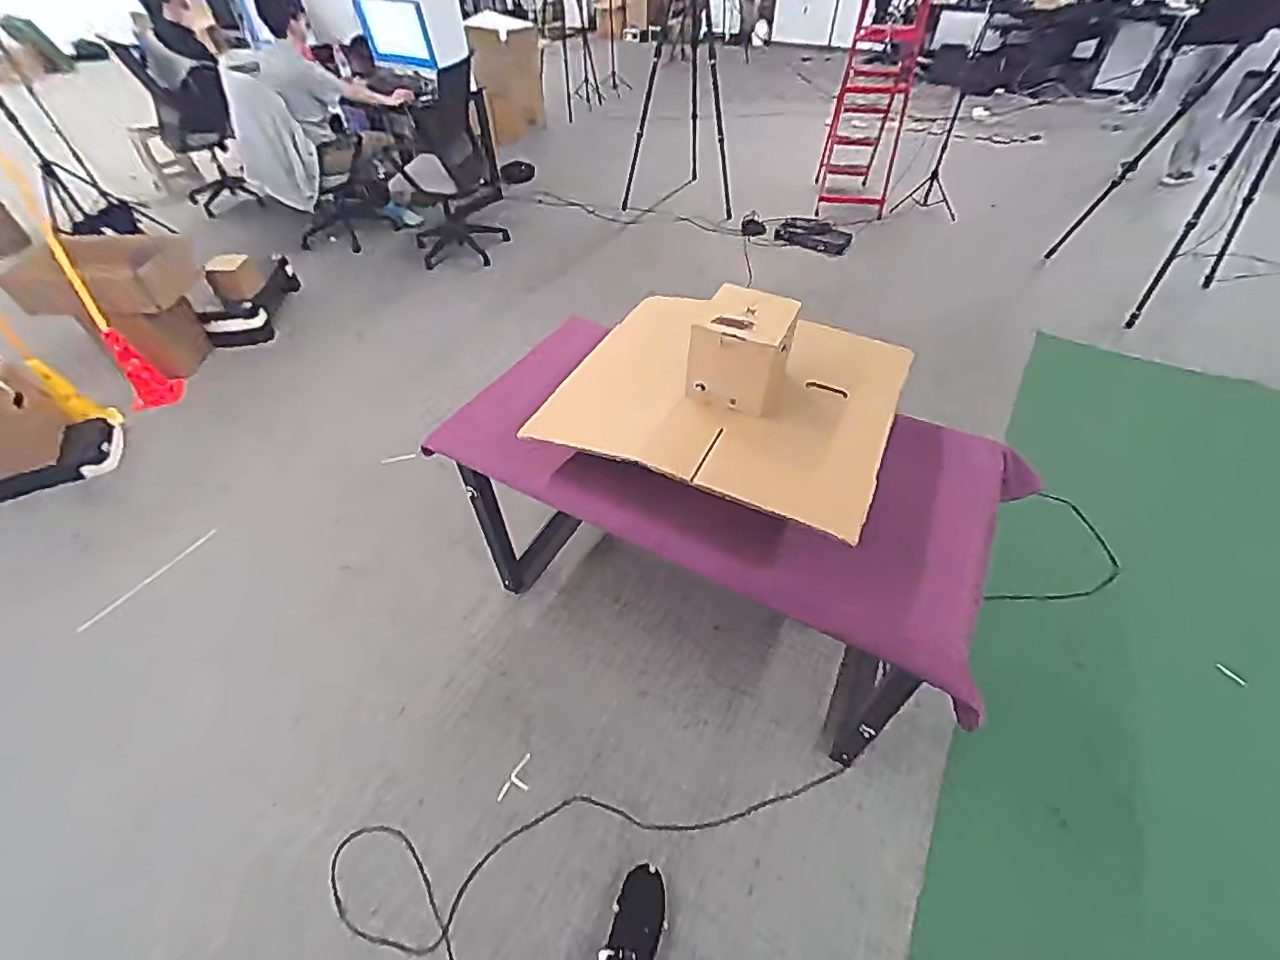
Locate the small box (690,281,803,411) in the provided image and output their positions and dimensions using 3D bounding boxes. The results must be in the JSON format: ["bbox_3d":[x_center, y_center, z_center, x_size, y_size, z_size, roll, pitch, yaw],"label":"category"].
[{"bbox_3d":[0.208,-0.265,1.082,0.168,0.176,0.179,21,51,17],"label":"small box"}]
